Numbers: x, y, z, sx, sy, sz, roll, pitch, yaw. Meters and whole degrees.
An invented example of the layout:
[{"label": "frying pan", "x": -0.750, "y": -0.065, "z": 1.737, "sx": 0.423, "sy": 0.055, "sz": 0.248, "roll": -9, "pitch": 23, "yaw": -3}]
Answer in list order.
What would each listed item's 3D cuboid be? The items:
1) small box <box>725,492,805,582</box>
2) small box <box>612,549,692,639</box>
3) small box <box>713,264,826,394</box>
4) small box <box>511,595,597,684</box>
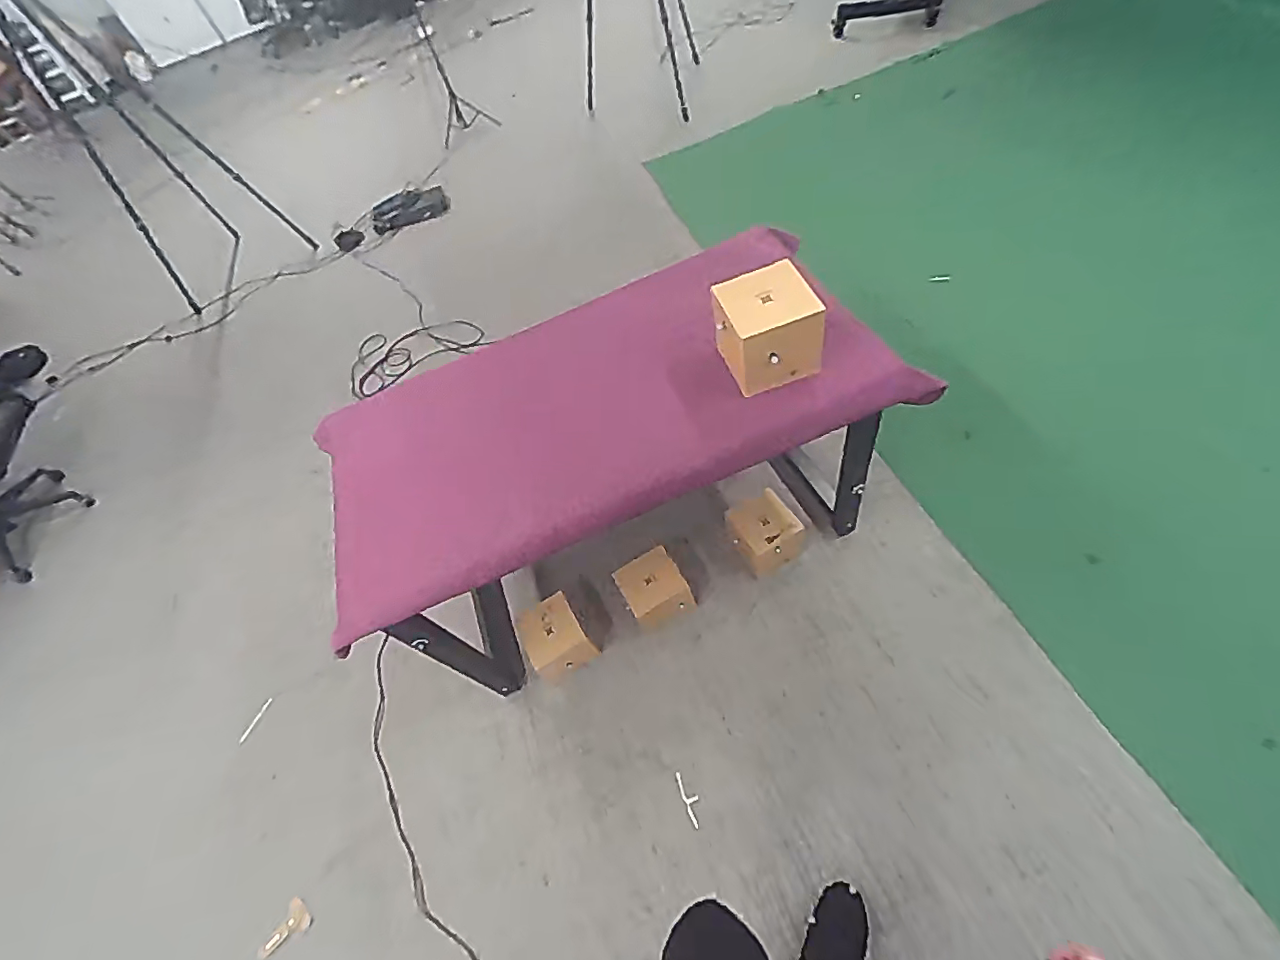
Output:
[{"label": "small box", "x": 0.375, "y": 0.176, "z": 1.638, "sx": 0.168, "sy": 0.176, "sz": 0.179, "roll": -29, "pitch": 54, "yaw": -7}, {"label": "small box", "x": 0.042, "y": 0.343, "z": 1.607, "sx": 0.179, "sy": 0.176, "sz": 0.168, "roll": -30, "pitch": 54, "yaw": -6}, {"label": "small box", "x": 0.260, "y": -0.295, "z": 1.093, "sx": 0.168, "sy": 0.176, "sz": 0.179, "roll": -19, "pitch": 53, "yaw": 2}, {"label": "small box", "x": -0.246, "y": 0.475, "z": 1.585, "sx": 0.168, "sy": 0.176, "sz": 0.179, "roll": -31, "pitch": 54, "yaw": -8}]
